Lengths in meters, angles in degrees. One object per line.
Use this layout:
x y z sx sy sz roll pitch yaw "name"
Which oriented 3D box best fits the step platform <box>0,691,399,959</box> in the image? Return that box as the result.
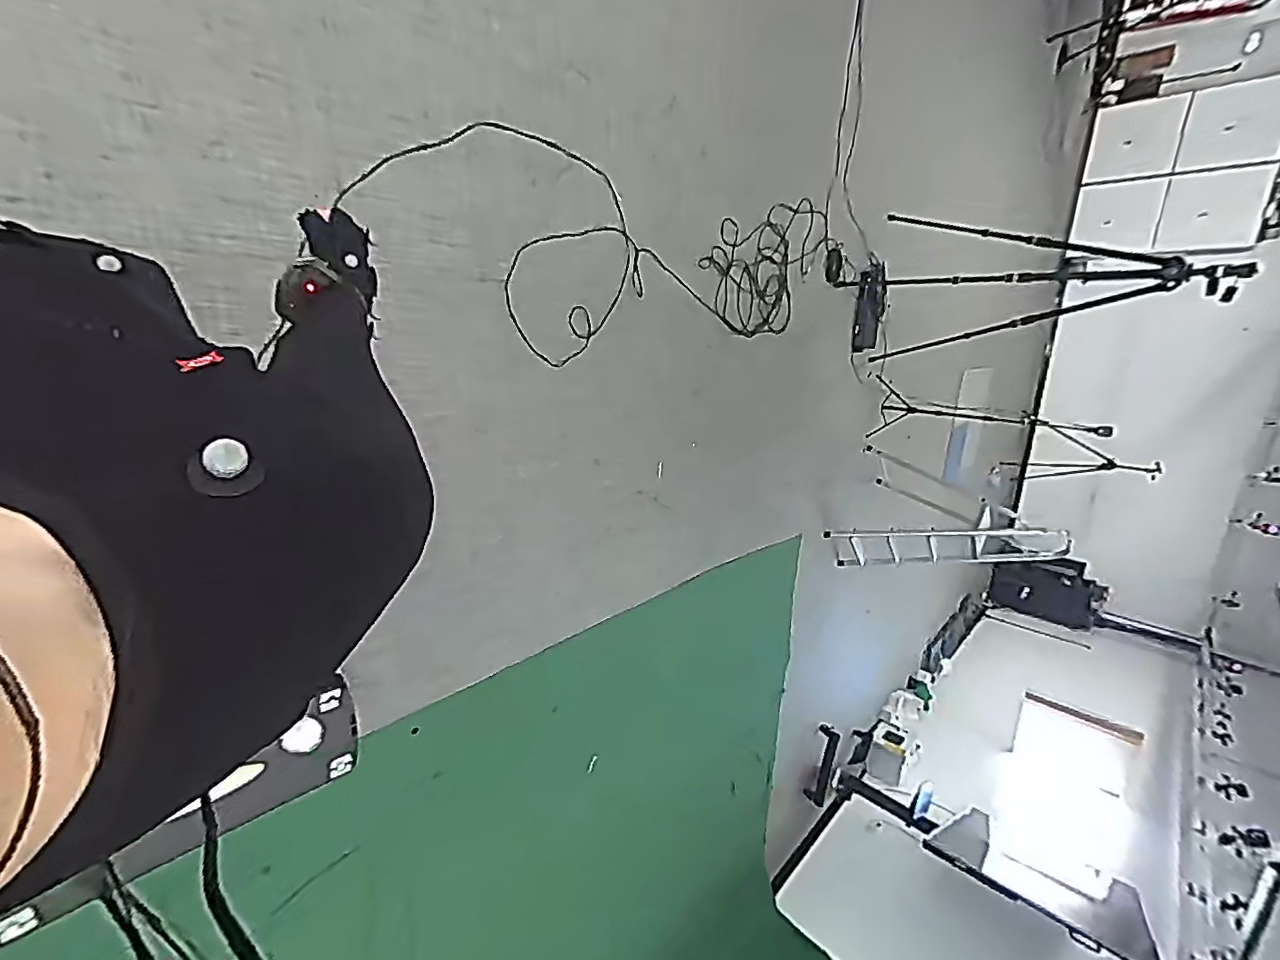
-0.880 0.720 1.110 0.684 0.204 0.286 -15 112 -45 "step platform"
